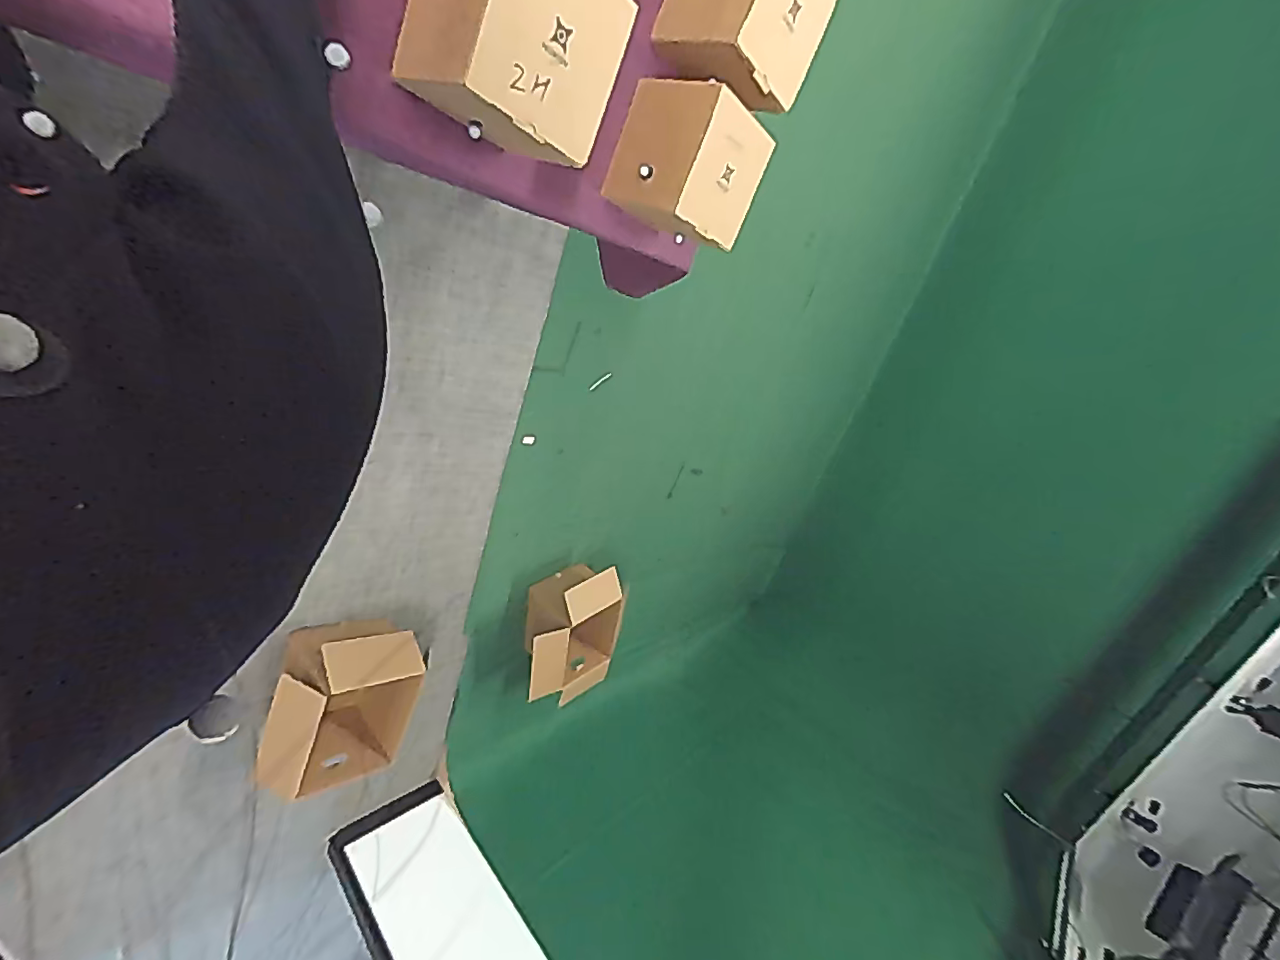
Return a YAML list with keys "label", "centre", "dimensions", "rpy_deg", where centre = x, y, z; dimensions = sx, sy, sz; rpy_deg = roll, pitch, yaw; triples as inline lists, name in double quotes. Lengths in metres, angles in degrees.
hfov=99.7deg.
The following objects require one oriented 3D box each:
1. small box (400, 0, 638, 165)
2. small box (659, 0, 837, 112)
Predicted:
- label: "small box"
  centre: [-0.139, -0.487, 0.598]
  dimensions: [0.168, 0.176, 0.179]
  rpy_deg: [3, 115, -51]
- label: "small box"
  centre: [0.152, -0.683, 0.791]
  dimensions: [0.168, 0.176, 0.179]
  rpy_deg: [5, 115, -53]
